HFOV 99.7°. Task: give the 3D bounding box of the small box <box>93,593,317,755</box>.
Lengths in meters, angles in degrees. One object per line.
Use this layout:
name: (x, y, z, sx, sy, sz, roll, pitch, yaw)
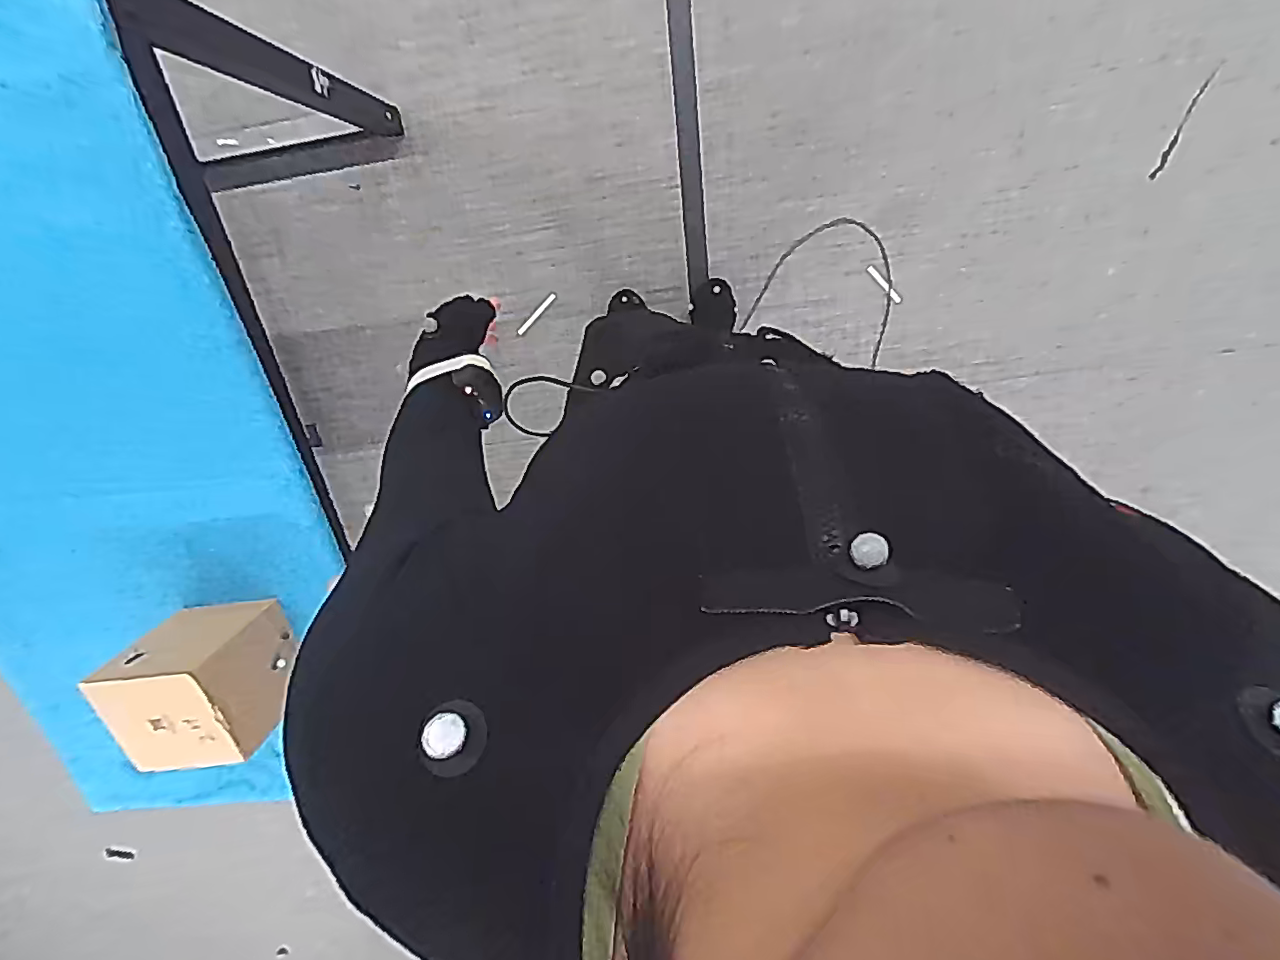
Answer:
small box: (-0.647, 0.290, 0.830, 0.179, 0.176, 0.168, -5, 114, 4)
